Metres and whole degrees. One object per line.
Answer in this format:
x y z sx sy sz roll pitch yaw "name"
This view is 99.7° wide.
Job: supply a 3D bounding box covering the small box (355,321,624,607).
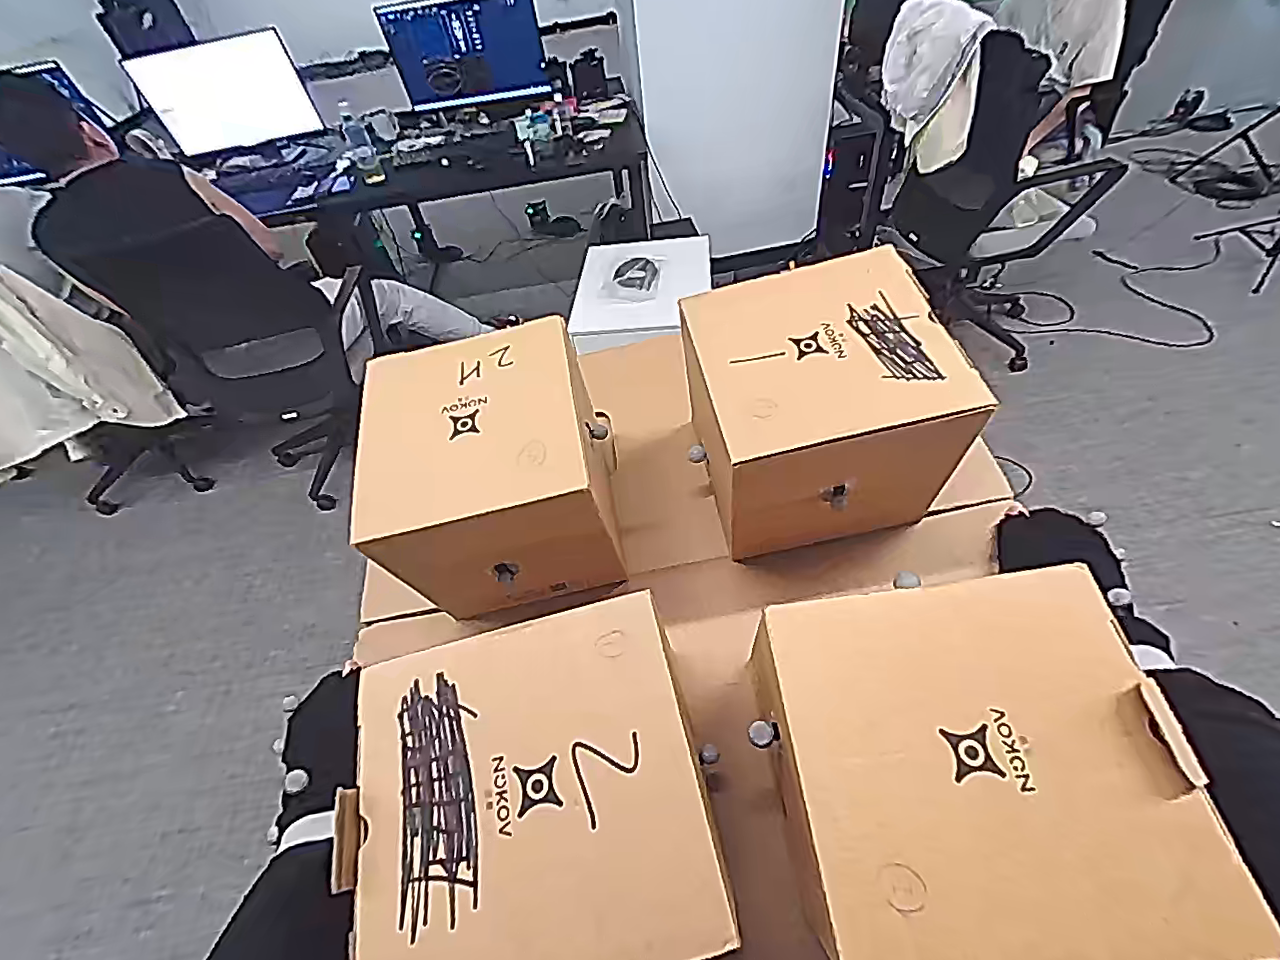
-0.115 -0.002 0.471 0.168 0.176 0.179 -13 58 1 "small box"
